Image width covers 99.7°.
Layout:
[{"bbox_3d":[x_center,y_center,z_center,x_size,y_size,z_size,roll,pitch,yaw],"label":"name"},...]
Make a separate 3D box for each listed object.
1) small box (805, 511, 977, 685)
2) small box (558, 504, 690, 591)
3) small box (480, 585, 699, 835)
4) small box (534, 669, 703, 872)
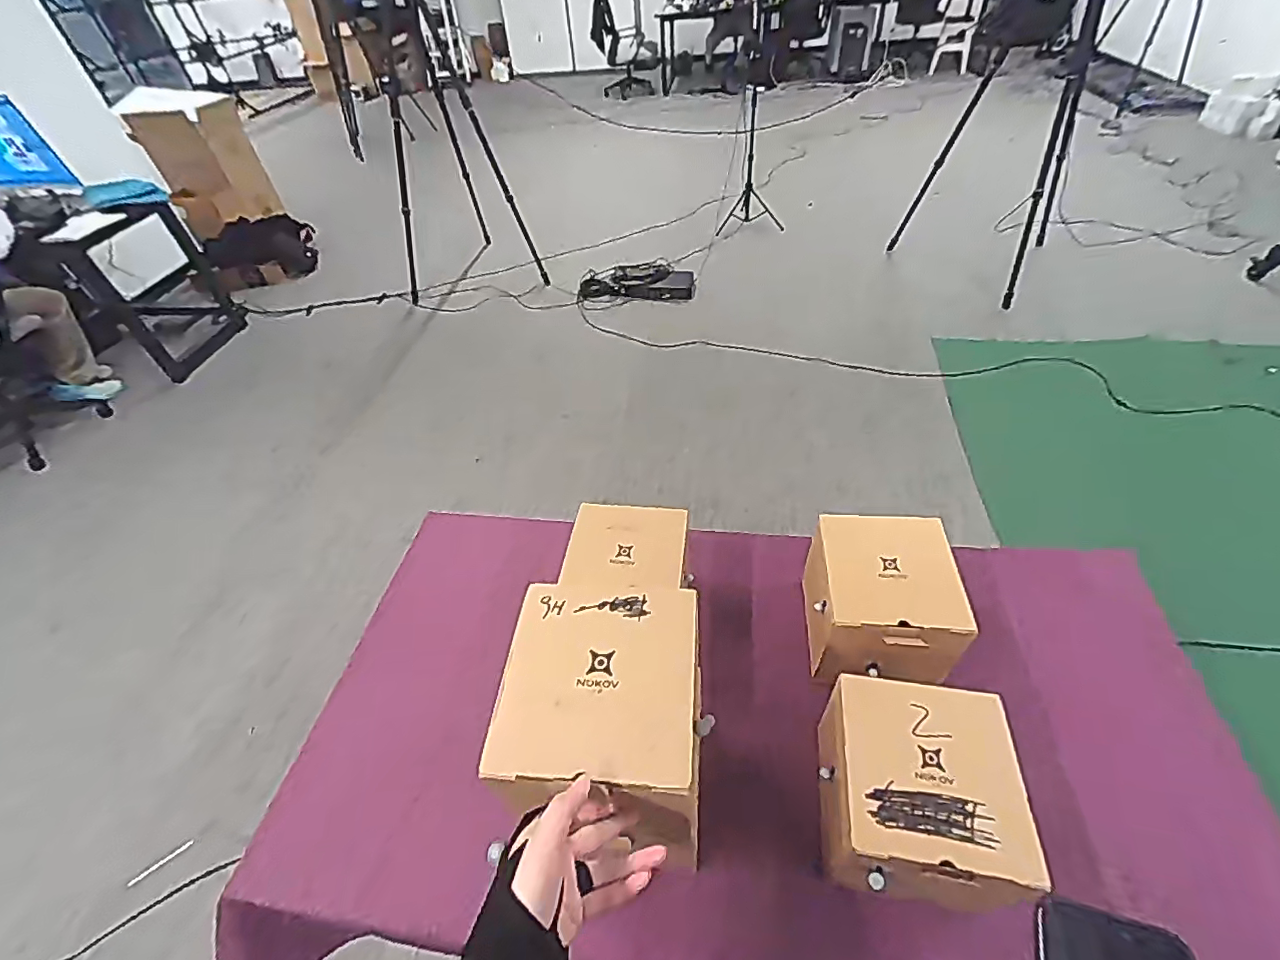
[{"bbox_3d":[0.332,0.165,0.760,0.168,0.176,0.179,1,48,8],"label":"small box"},{"bbox_3d":[-0.014,0.159,0.807,0.168,0.176,0.179,3,47,8],"label":"small box"},{"bbox_3d":[-0.029,0.221,0.518,0.168,0.176,0.179,1,47,7],"label":"small box"},{"bbox_3d":[-0.011,0.334,0.638,0.168,0.176,0.179,1,46,8],"label":"small box"}]
